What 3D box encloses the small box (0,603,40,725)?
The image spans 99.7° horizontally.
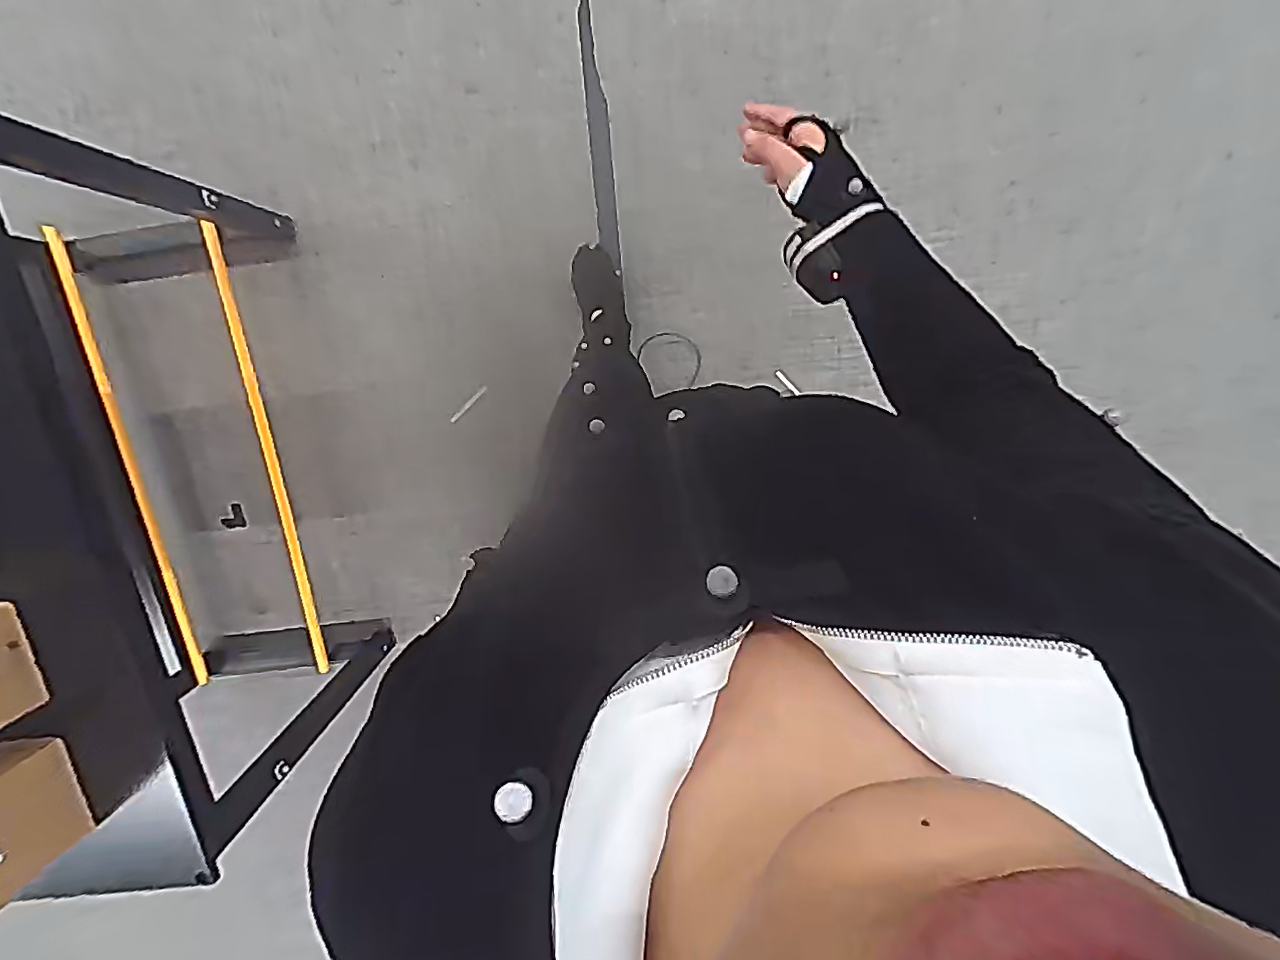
[{"bbox_3d":[-0.989,0.279,0.733,0.179,0.176,0.168,-5,104,1],"label":"small box"}]

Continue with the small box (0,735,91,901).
[{"bbox_3d":[-0.972,0.506,0.787,0.168,0.176,0.179,-6,102,1],"label":"small box"}]
